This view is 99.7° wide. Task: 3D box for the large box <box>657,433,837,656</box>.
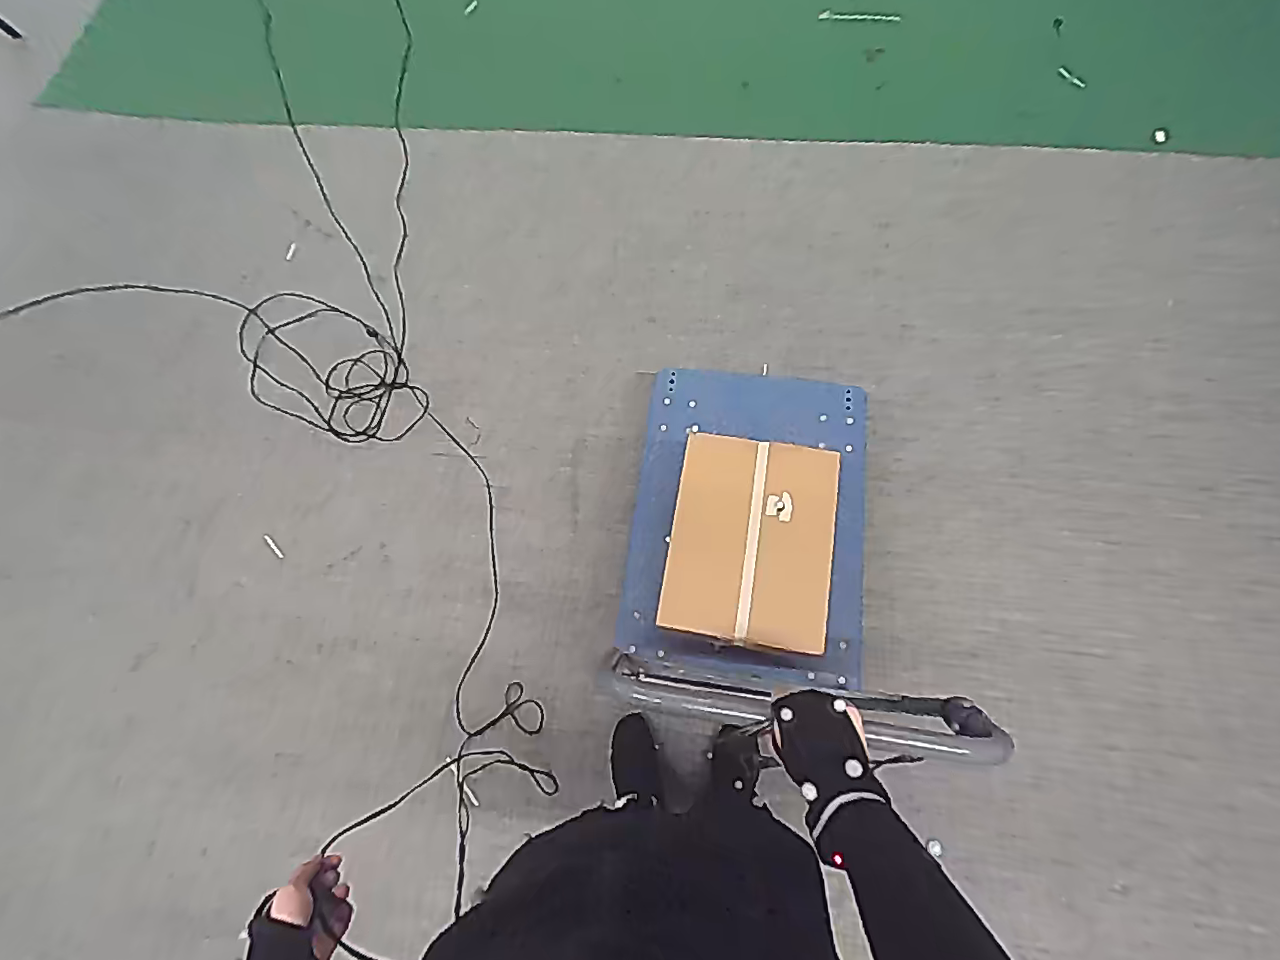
[{"bbox_3d":[0.225,0.156,1.189,0.320,0.320,0.408,10,72,6],"label":"large box"}]
